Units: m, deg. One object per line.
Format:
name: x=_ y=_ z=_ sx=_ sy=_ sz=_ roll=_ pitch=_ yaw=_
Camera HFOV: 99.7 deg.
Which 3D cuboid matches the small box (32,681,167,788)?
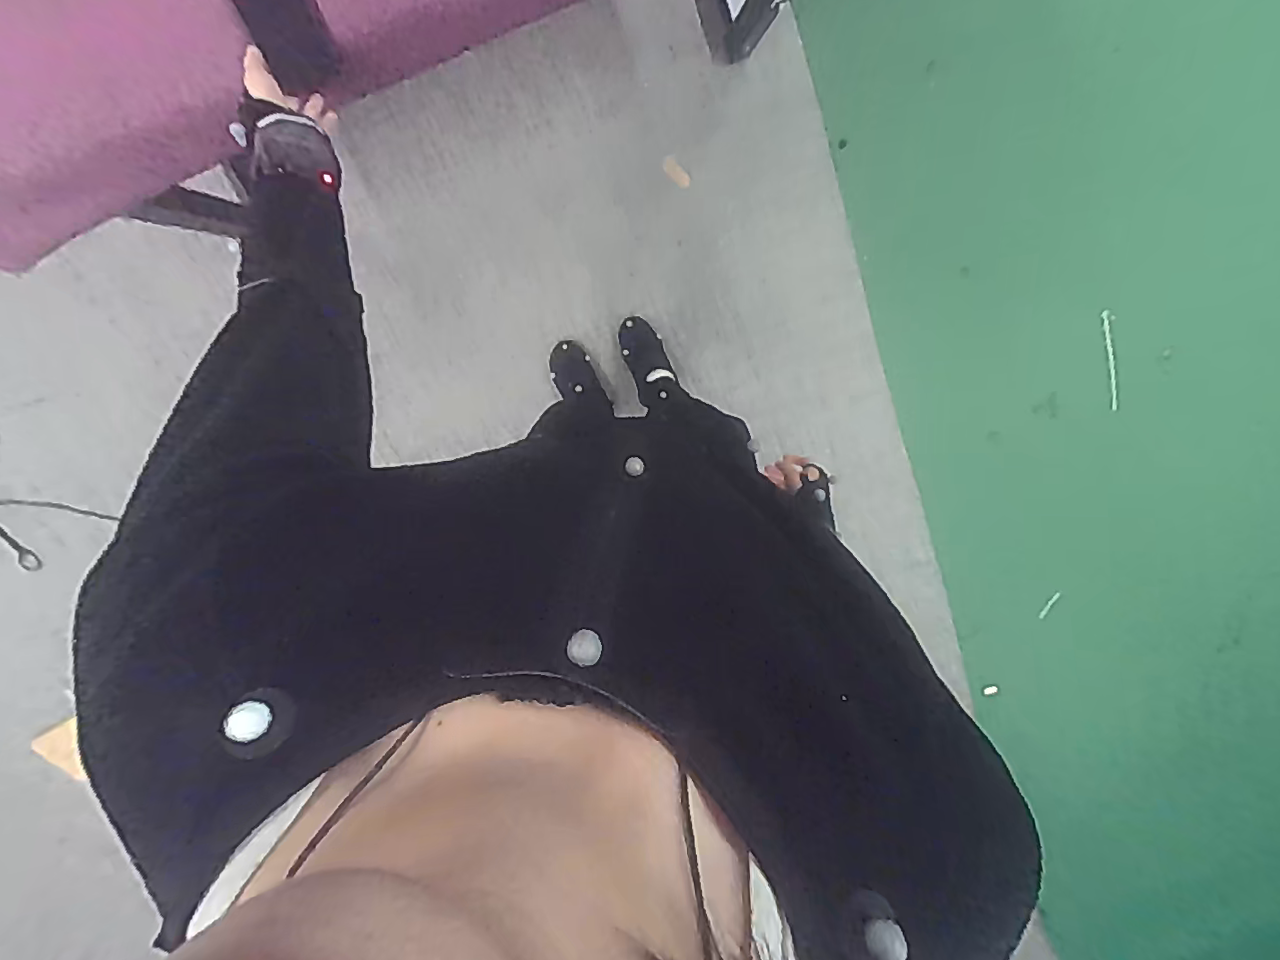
small box: x=-1.485 y=0.701 z=1.506 sx=0.179 sy=0.176 sz=0.168 roll=-30 pitch=109 yaw=4
